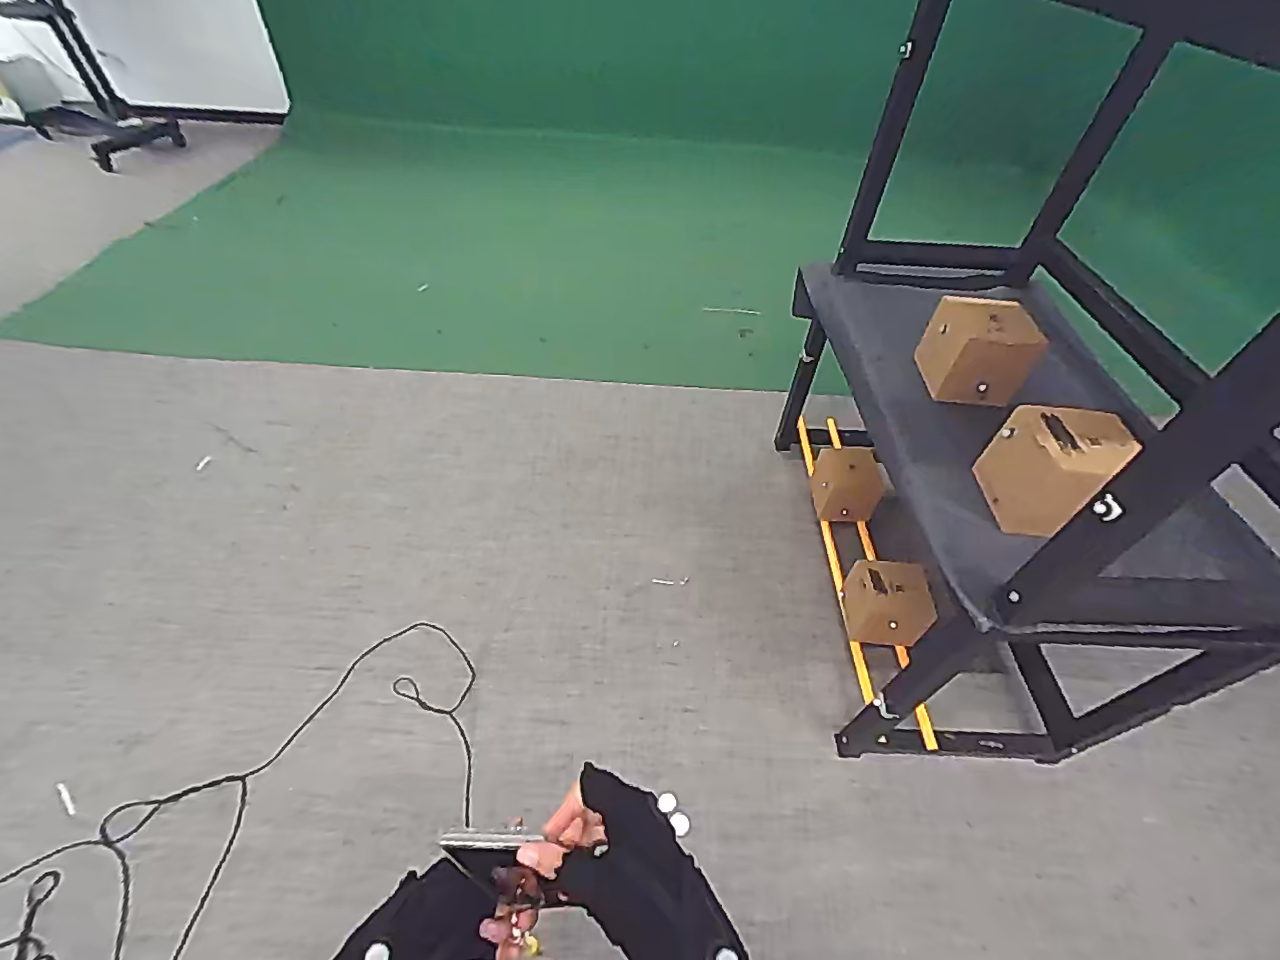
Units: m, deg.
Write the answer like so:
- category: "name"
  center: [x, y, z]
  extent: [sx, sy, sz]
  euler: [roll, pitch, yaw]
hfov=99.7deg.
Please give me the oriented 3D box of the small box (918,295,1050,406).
- category: "small box"
  center: [0.753, -0.290, 1.210]
  extent: [0.168, 0.176, 0.179]
  euler: [5, 47, 1]

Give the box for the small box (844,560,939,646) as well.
- category: "small box"
  center: [0.673, 0.338, 1.476]
  extent: [0.179, 0.176, 0.168]
  euler: [5, 48, 2]
